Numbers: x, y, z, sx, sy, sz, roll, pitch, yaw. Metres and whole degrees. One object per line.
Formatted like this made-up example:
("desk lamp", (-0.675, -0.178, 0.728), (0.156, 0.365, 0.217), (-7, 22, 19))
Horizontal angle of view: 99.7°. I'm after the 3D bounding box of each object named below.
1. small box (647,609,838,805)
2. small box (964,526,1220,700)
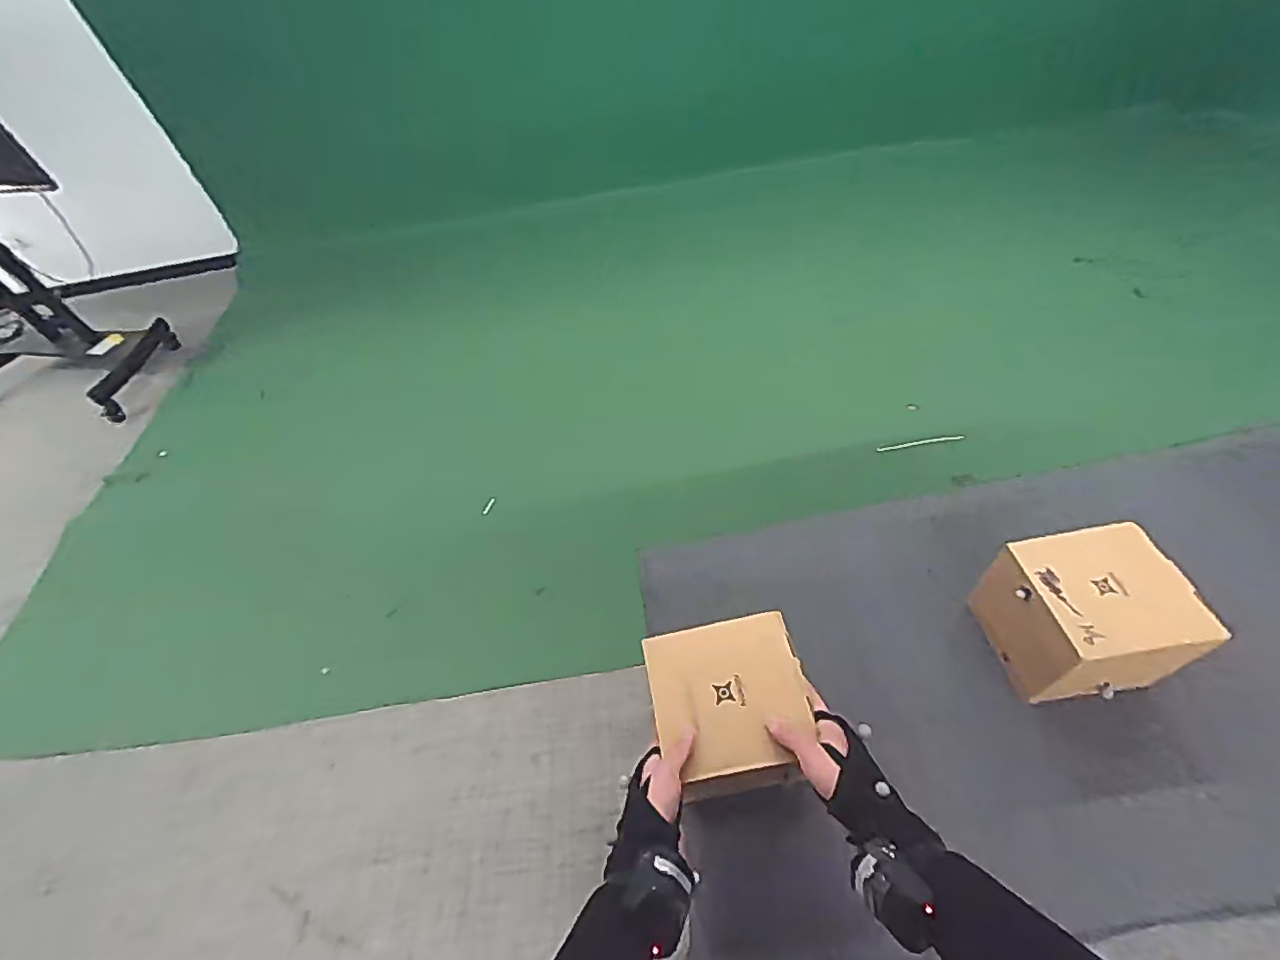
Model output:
("small box", (0.115, 0.281, 0.659), (0.179, 0.176, 0.168), (-13, 52, 1))
("small box", (0.597, 0.186, 0.747), (0.179, 0.176, 0.168), (-8, 50, -2))
